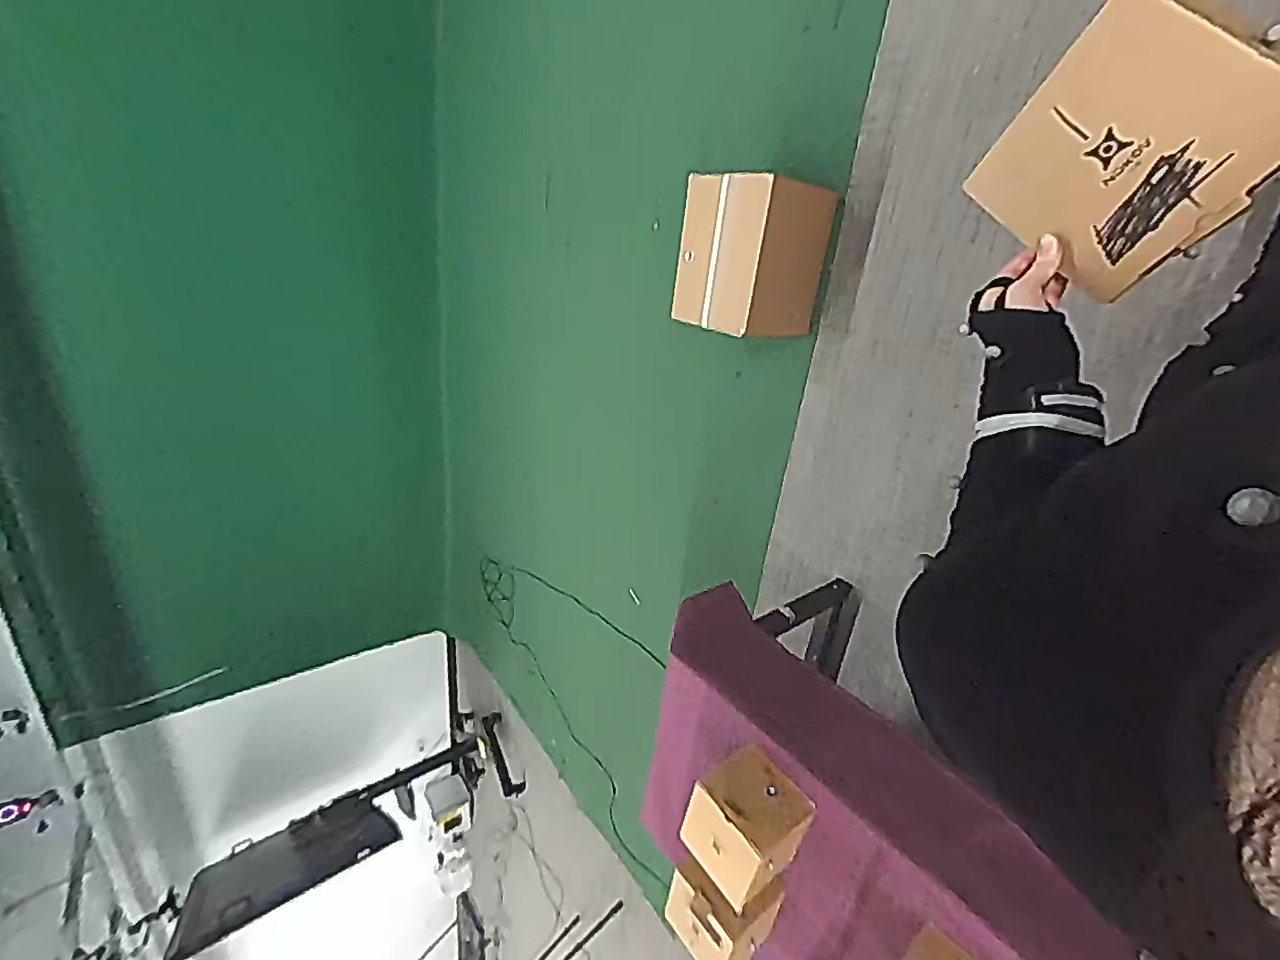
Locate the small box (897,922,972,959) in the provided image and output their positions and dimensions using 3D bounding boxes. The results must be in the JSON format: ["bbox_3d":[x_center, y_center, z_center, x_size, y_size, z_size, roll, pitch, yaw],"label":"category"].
[{"bbox_3d":[0.447,0.826,0.806,0.168,0.176,0.179,31,123,45],"label":"small box"}]

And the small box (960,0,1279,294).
[{"bbox_3d":[0.447,-0.303,0.483,0.179,0.176,0.168,53,148,17],"label":"small box"}]

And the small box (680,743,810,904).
[{"bbox_3d":[0.208,0.668,1.069,0.168,0.176,0.179,36,125,42],"label":"small box"}]
